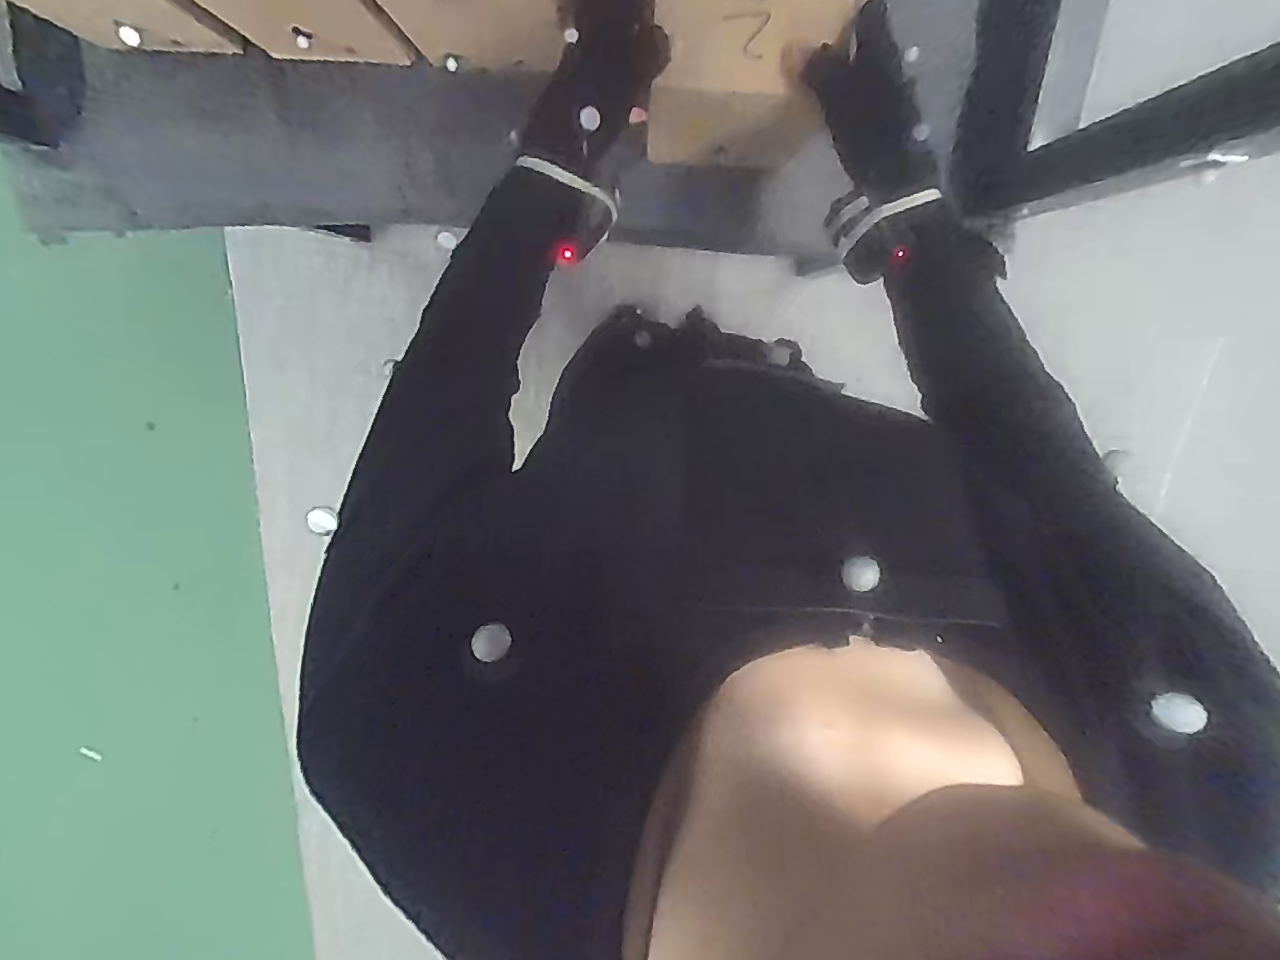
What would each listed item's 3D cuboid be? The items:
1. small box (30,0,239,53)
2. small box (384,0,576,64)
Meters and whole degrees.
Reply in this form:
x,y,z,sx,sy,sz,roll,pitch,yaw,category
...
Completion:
x,y,z,sx,sy,sz,roll,pitch,yaw,category
-0.526,-0.547,0.508,0.168,0.176,0.179,3,107,1,small box
-0.152,-0.524,0.503,0.168,0.176,0.179,3,106,1,small box
